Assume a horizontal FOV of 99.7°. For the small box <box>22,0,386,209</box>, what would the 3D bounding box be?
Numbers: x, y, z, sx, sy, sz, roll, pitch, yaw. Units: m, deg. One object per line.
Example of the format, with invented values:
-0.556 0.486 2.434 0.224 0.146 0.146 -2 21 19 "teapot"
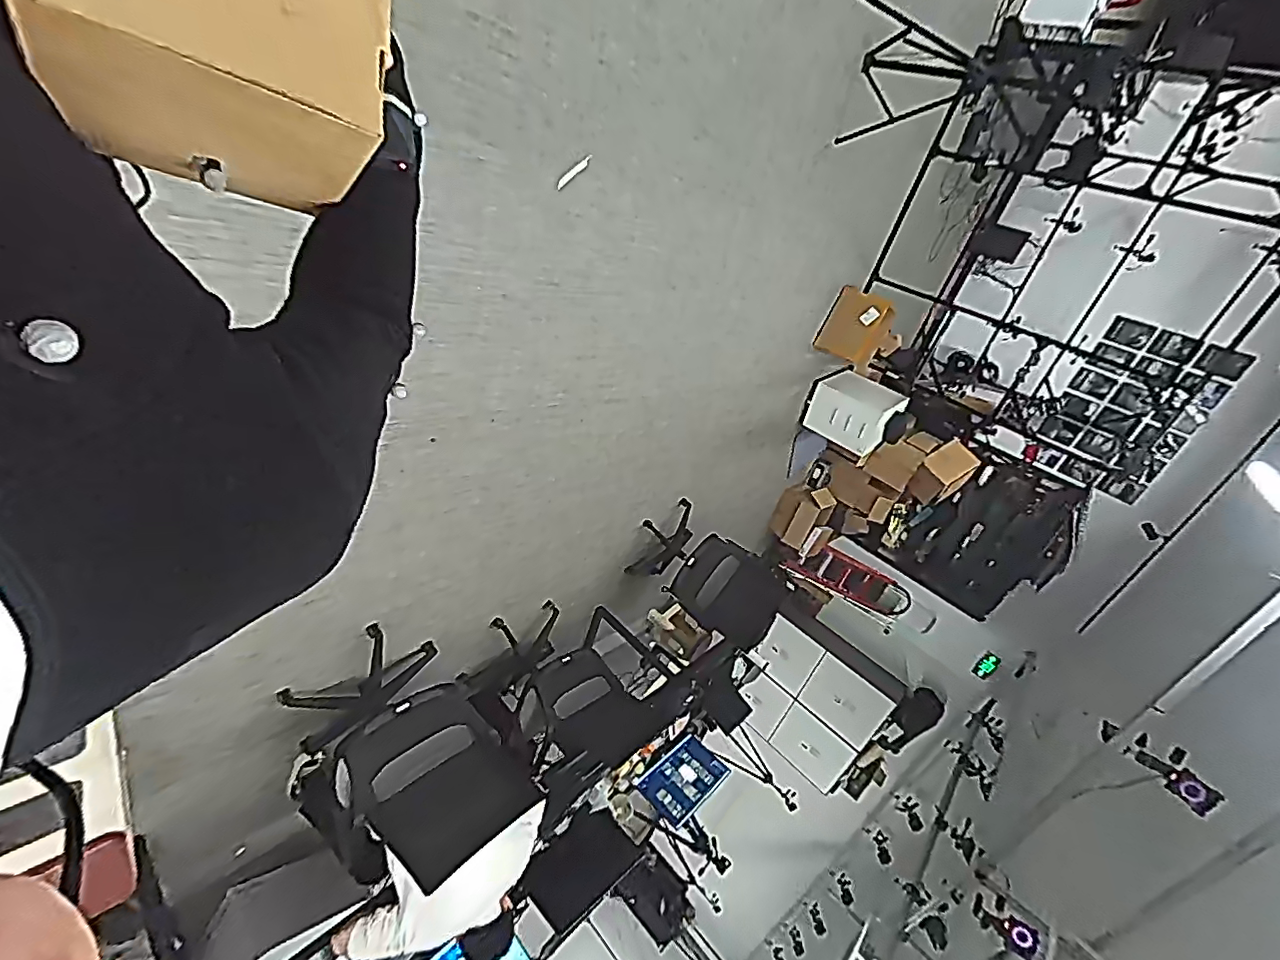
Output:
-0.302 -0.323 0.389 0.179 0.176 0.168 1 90 -43 "small box"
